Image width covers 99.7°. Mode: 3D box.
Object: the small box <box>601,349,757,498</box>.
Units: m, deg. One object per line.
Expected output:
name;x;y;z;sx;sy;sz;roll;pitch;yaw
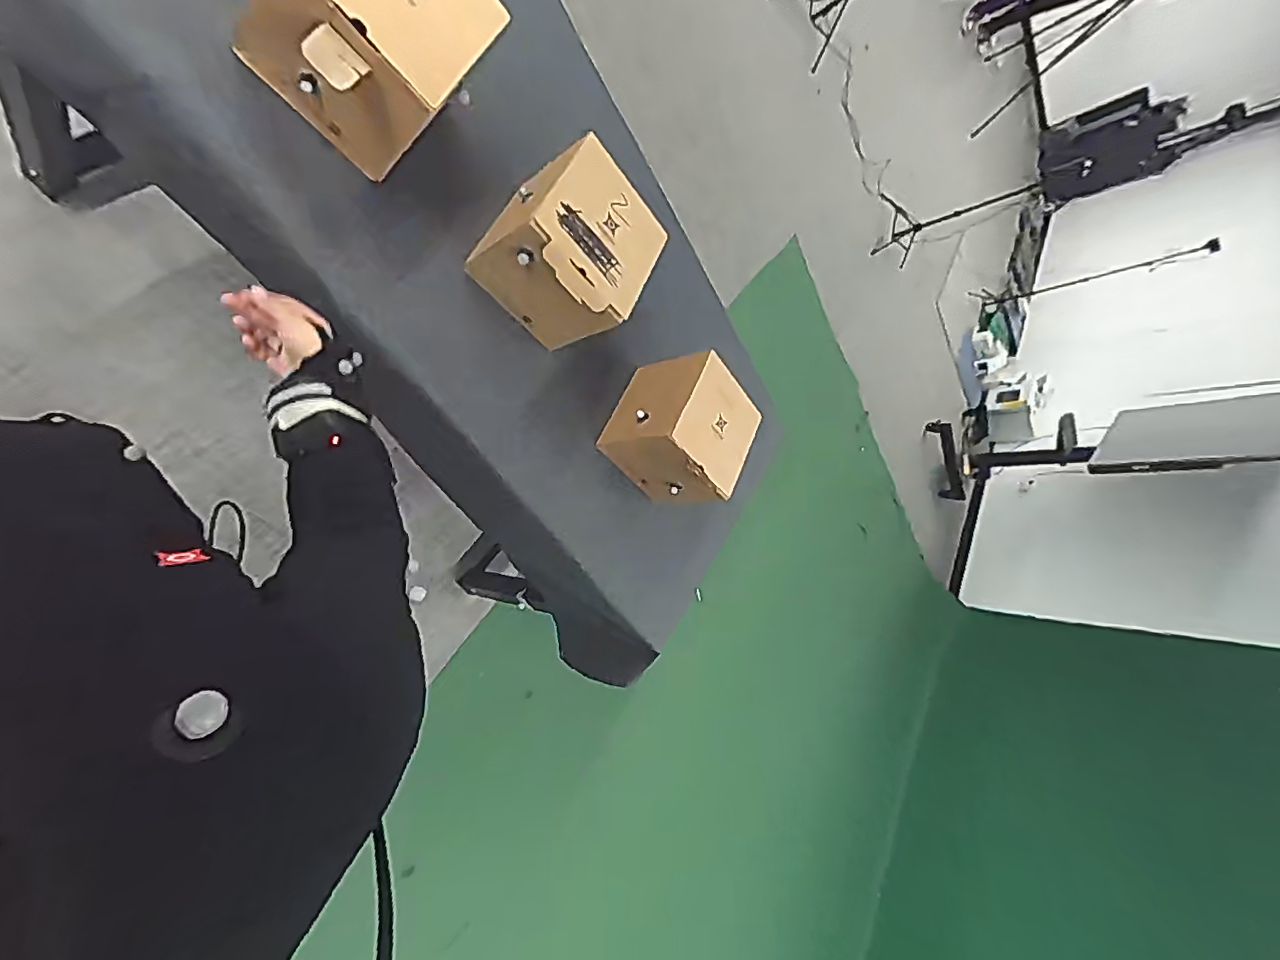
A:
small box;0.061;-0.084;0.892;0.168;0.176;0.179;45;58;-35

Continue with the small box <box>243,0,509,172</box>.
small box;-0.279;-0.476;0.572;0.168;0.176;0.179;40;63;-37
